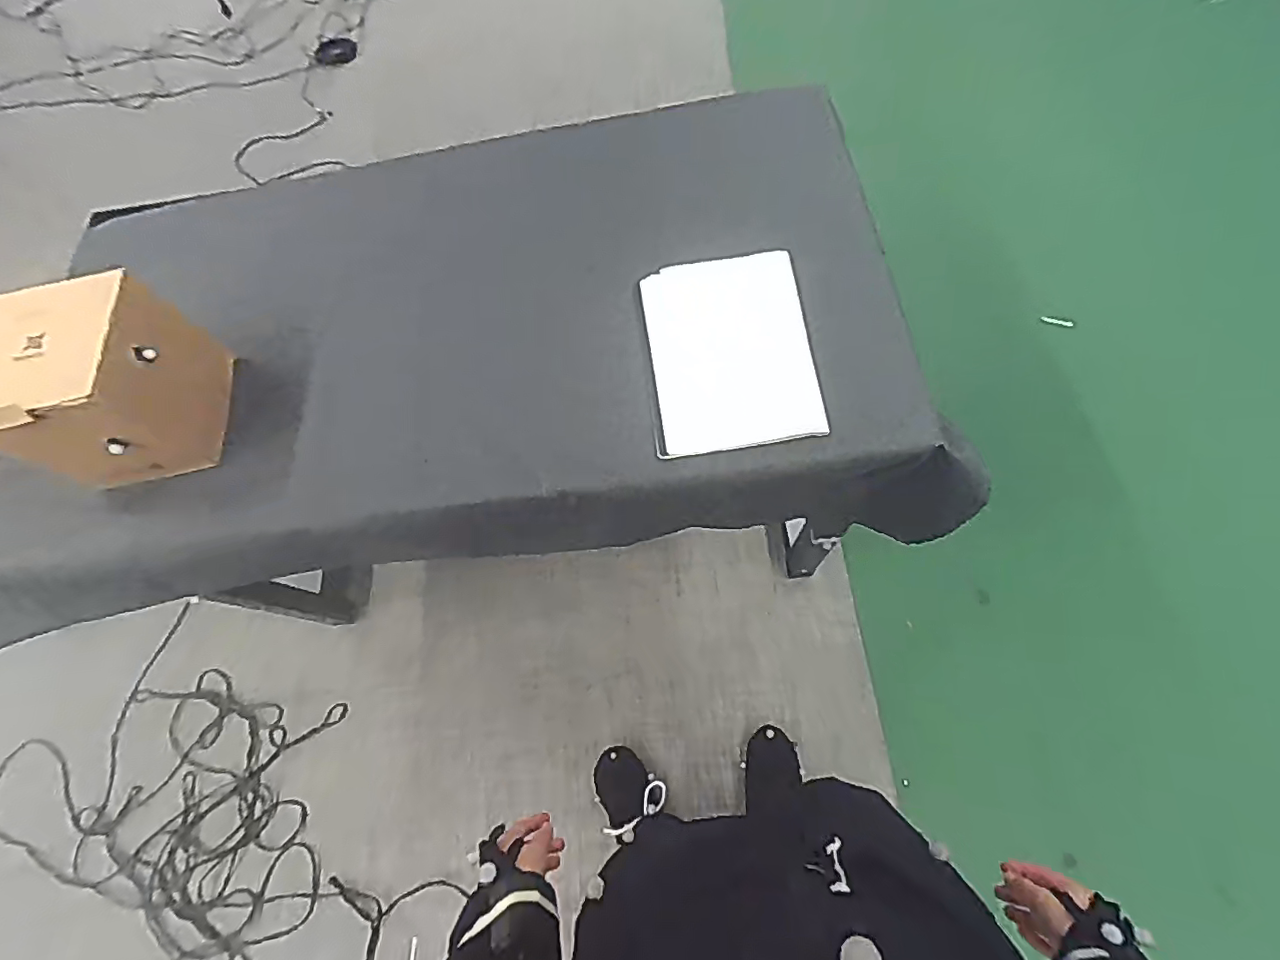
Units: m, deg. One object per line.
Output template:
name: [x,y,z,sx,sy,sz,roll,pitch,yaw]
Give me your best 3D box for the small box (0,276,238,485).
small box: [-0.630,-0.106,0.652,0.168,0.176,0.179,-11,65,1]
